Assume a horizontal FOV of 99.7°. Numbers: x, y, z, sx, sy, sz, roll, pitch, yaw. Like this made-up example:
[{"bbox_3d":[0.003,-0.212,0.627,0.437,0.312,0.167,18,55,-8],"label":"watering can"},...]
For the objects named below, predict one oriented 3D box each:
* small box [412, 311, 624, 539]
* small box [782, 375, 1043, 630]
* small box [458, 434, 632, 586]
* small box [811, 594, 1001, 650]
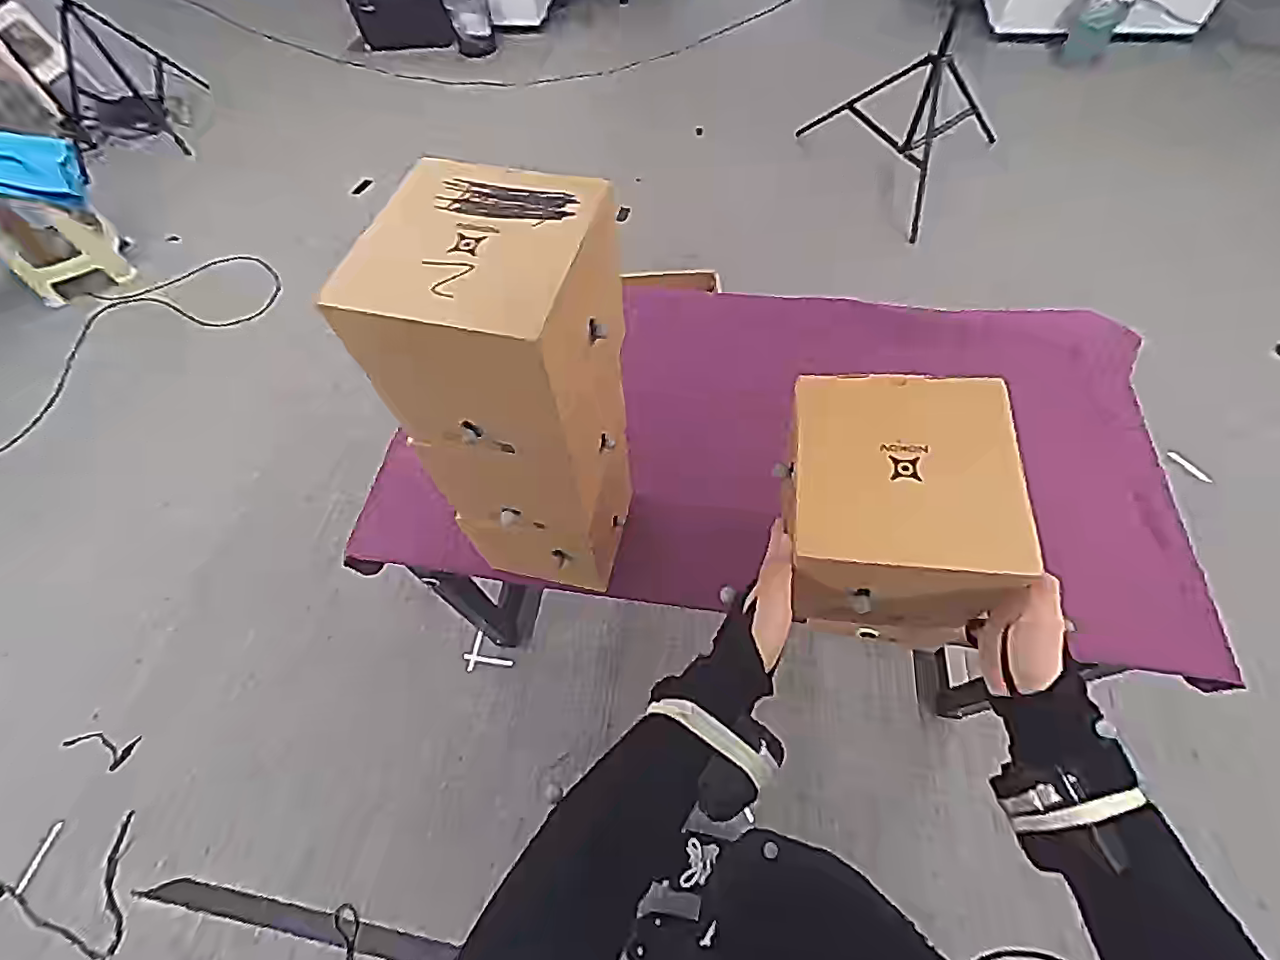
[{"bbox_3d":[-0.116,-0.057,0.605,0.168,0.176,0.179,10,62,8],"label":"small box"},{"bbox_3d":[0.219,0.026,0.488,0.168,0.176,0.179,3,61,12],"label":"small box"},{"bbox_3d":[-0.113,0.033,0.743,0.179,0.176,0.168,10,61,9],"label":"small box"},{"bbox_3d":[0.315,0.099,0.682,0.168,0.176,0.179,6,62,8],"label":"small box"}]
